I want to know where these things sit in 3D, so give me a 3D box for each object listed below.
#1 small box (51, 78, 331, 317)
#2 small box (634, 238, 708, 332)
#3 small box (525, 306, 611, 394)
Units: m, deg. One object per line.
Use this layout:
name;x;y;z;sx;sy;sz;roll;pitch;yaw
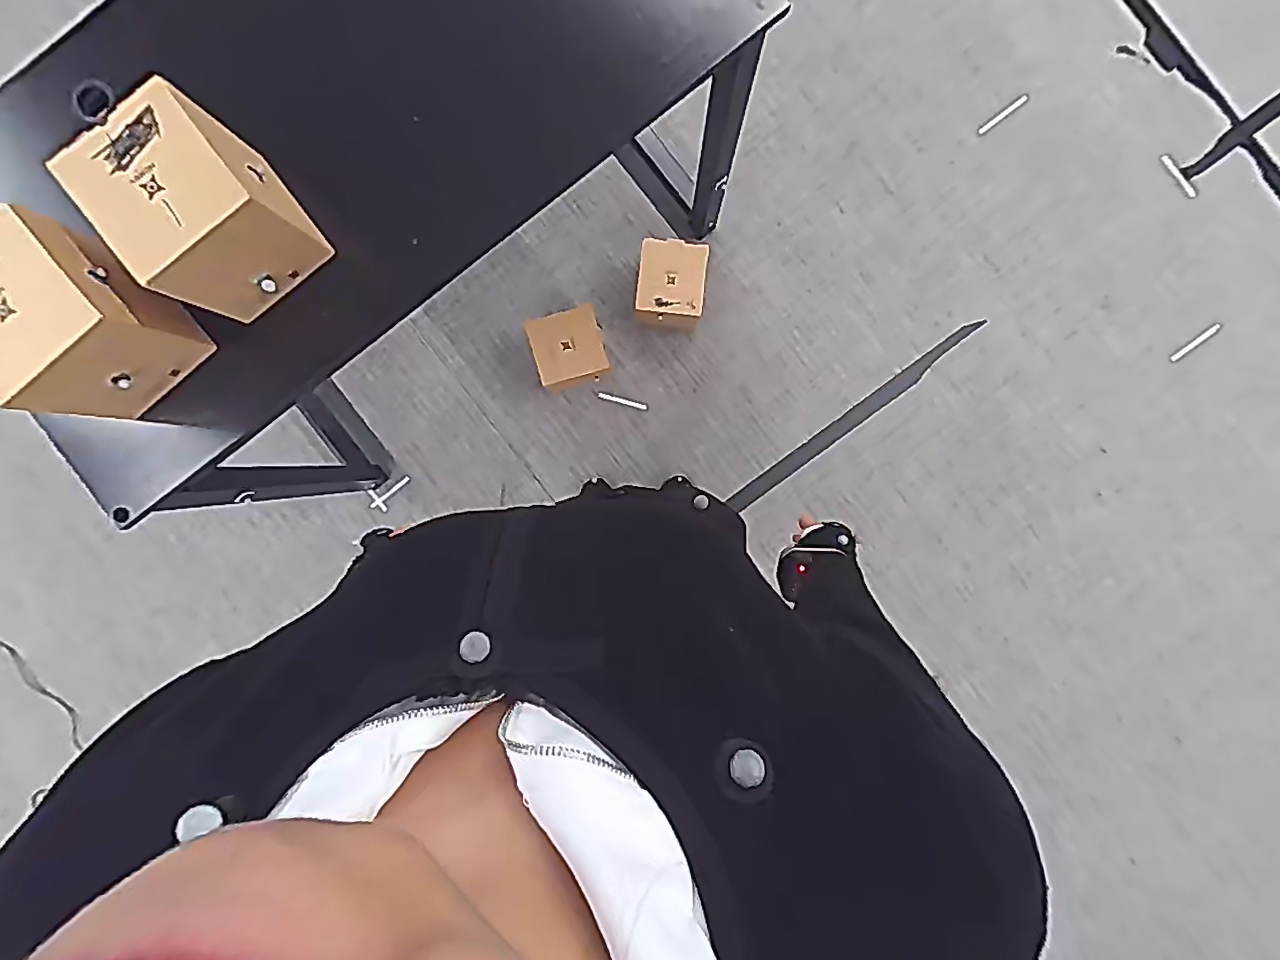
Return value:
small box;-0.549;-0.338;0.688;0.168;0.176;0.179;-37;91;2
small box;0.077;-0.498;1.399;0.168;0.176;0.179;6;92;1
small box;-0.178;-0.333;1.412;0.179;0.176;0.168;-16;91;2
